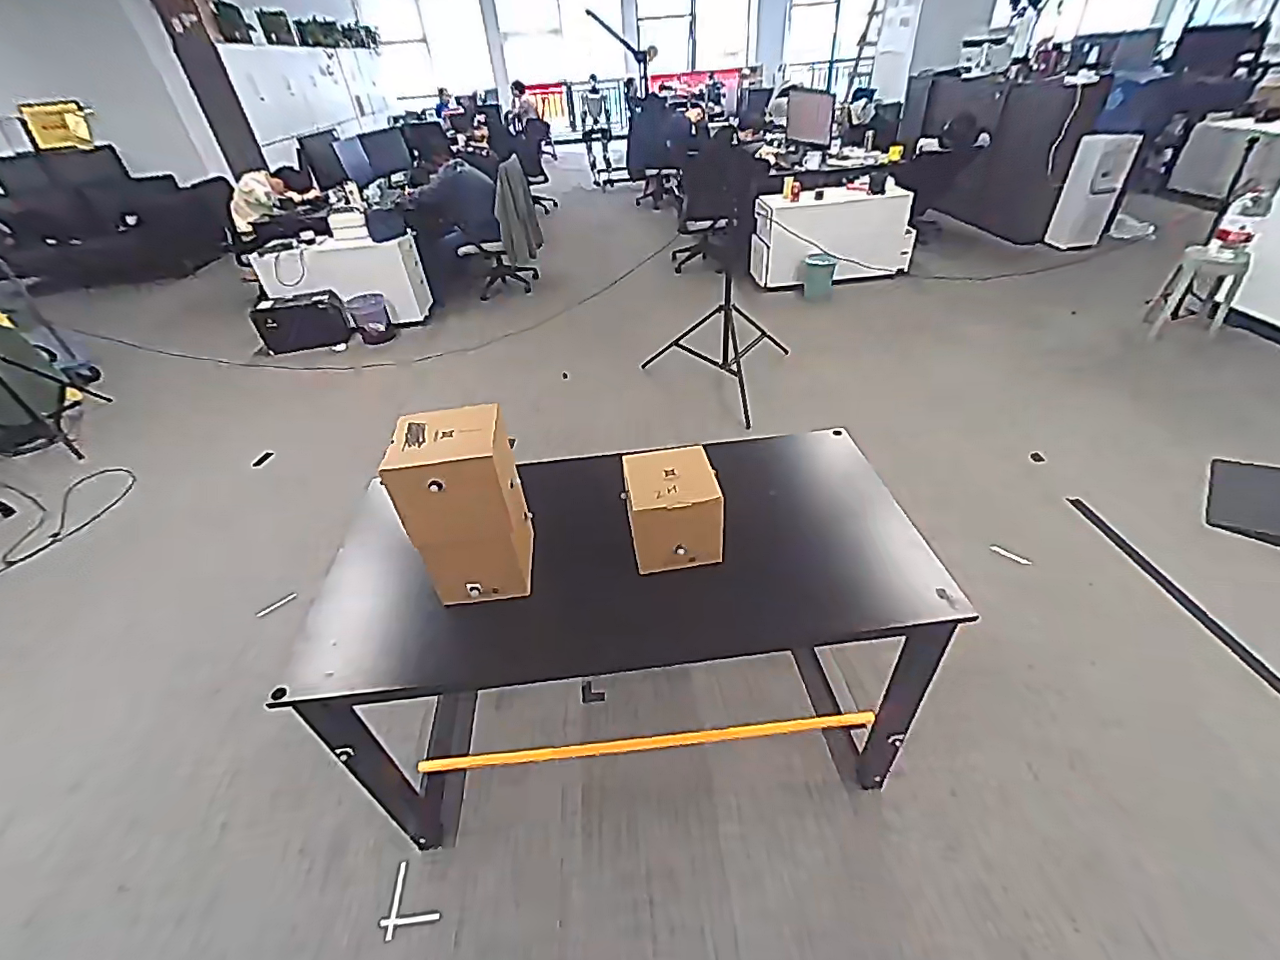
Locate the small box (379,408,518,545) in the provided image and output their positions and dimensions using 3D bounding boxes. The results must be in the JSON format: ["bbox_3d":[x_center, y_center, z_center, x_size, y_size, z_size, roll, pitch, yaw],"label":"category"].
[{"bbox_3d":[-0.321,-0.004,0.945,0.179,0.176,0.168,-9,38,-4],"label":"small box"}]

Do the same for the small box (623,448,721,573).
[{"bbox_3d":[0.060,0.059,1.082,0.168,0.176,0.179,-9,38,-3],"label":"small box"}]

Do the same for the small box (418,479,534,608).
[{"bbox_3d":[-0.307,0.121,1.051,0.168,0.176,0.179,-8,39,-2],"label":"small box"}]
